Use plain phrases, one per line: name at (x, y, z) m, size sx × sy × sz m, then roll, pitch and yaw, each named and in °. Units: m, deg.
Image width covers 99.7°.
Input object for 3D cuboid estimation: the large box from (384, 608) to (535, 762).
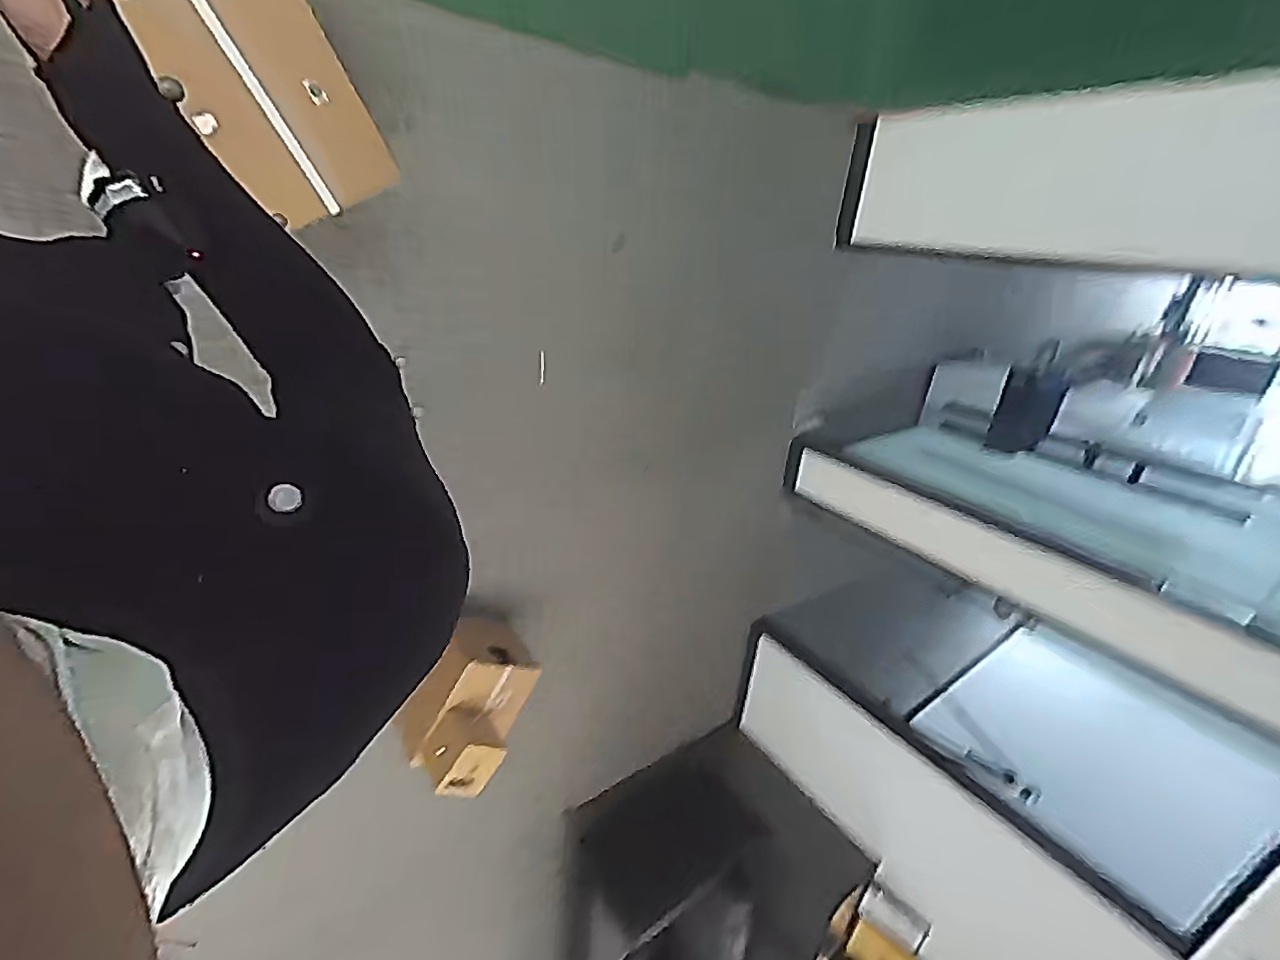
large box at (-0.653, 0.729, 1.940) m, size 0.320 × 0.320 × 0.408 m, roll 27°, pitch 94°, yaw -46°
